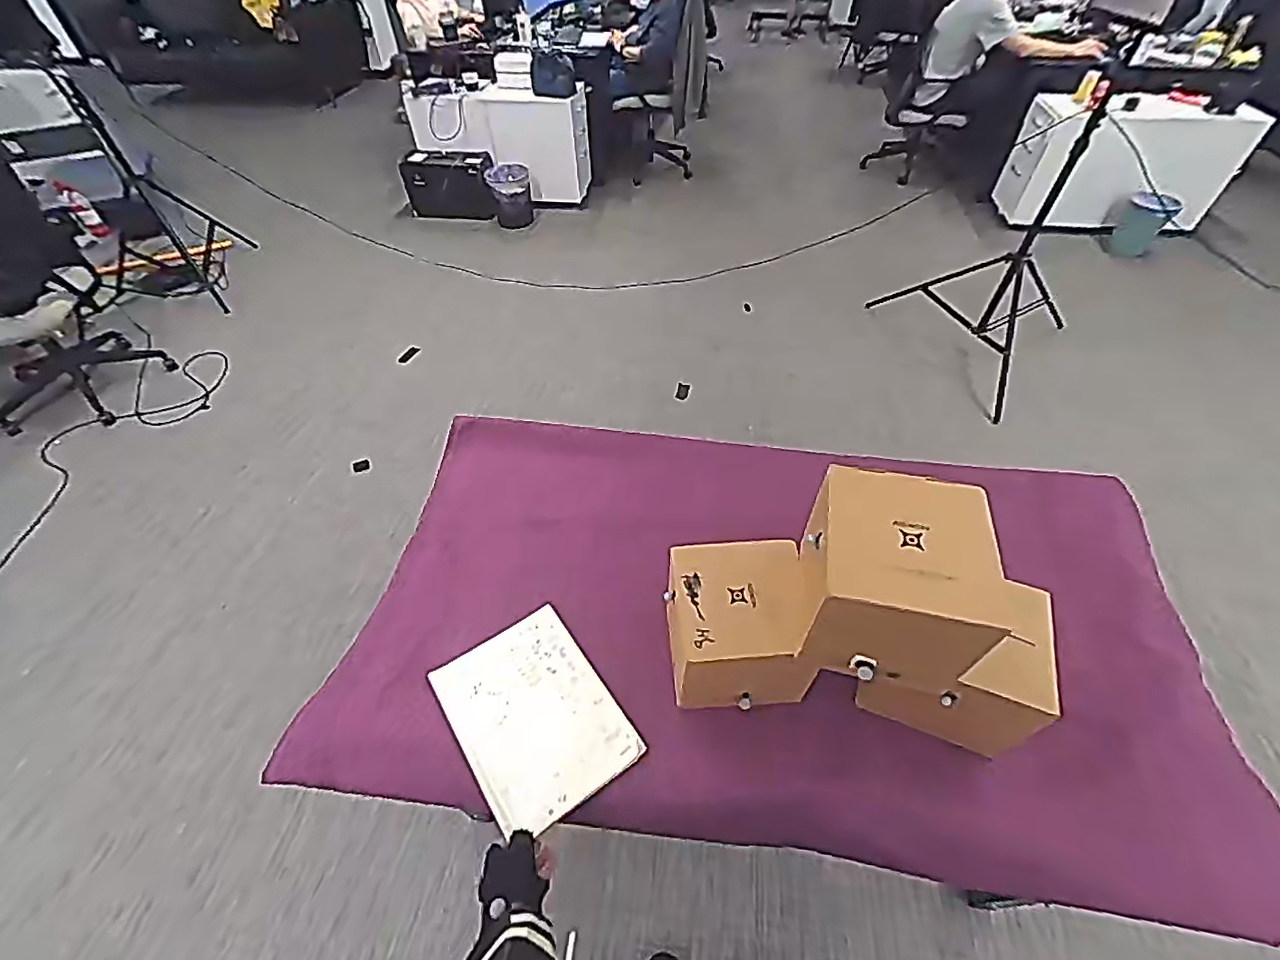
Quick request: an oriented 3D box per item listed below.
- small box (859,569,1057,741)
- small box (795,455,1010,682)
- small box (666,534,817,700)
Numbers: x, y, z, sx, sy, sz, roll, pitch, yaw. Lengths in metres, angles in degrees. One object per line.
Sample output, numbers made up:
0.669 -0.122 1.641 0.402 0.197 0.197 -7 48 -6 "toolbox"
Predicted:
0.407 0.218 0.718 0.179 0.176 0.168 17 51 16 "small box"
0.275 0.100 0.611 0.168 0.176 0.179 8 50 11 "small box"
0.132 0.192 0.750 0.179 0.176 0.168 -3 48 -2 "small box"
